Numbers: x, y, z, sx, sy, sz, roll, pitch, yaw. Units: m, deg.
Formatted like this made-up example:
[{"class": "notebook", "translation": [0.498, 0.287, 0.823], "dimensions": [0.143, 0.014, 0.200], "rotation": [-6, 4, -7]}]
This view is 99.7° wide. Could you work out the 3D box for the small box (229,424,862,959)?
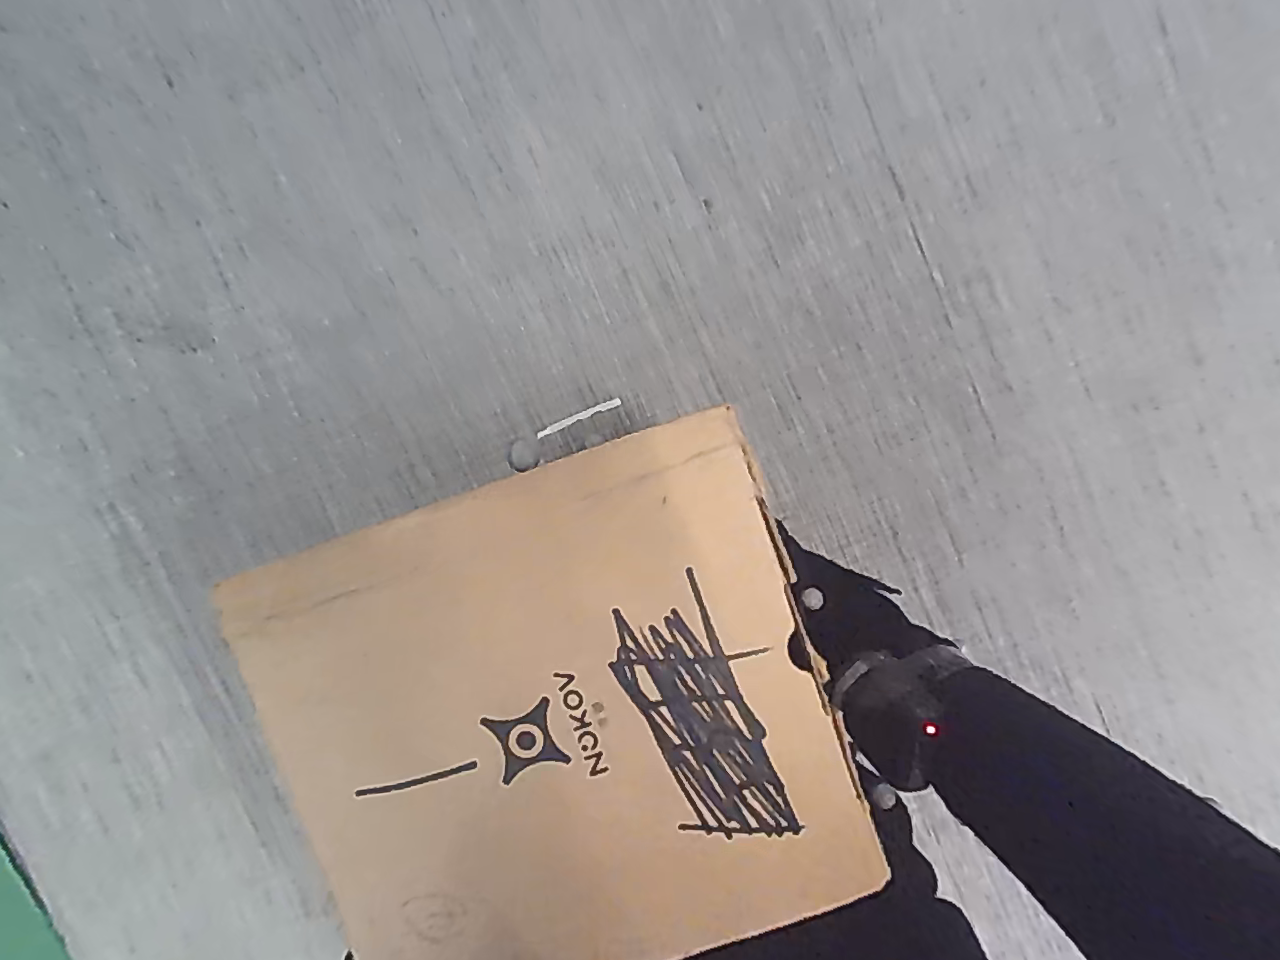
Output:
[{"class": "small box", "translation": [-0.029, 0.077, 0.256], "dimensions": [0.179, 0.176, 0.168], "rotation": [-16, 91, 2]}]
